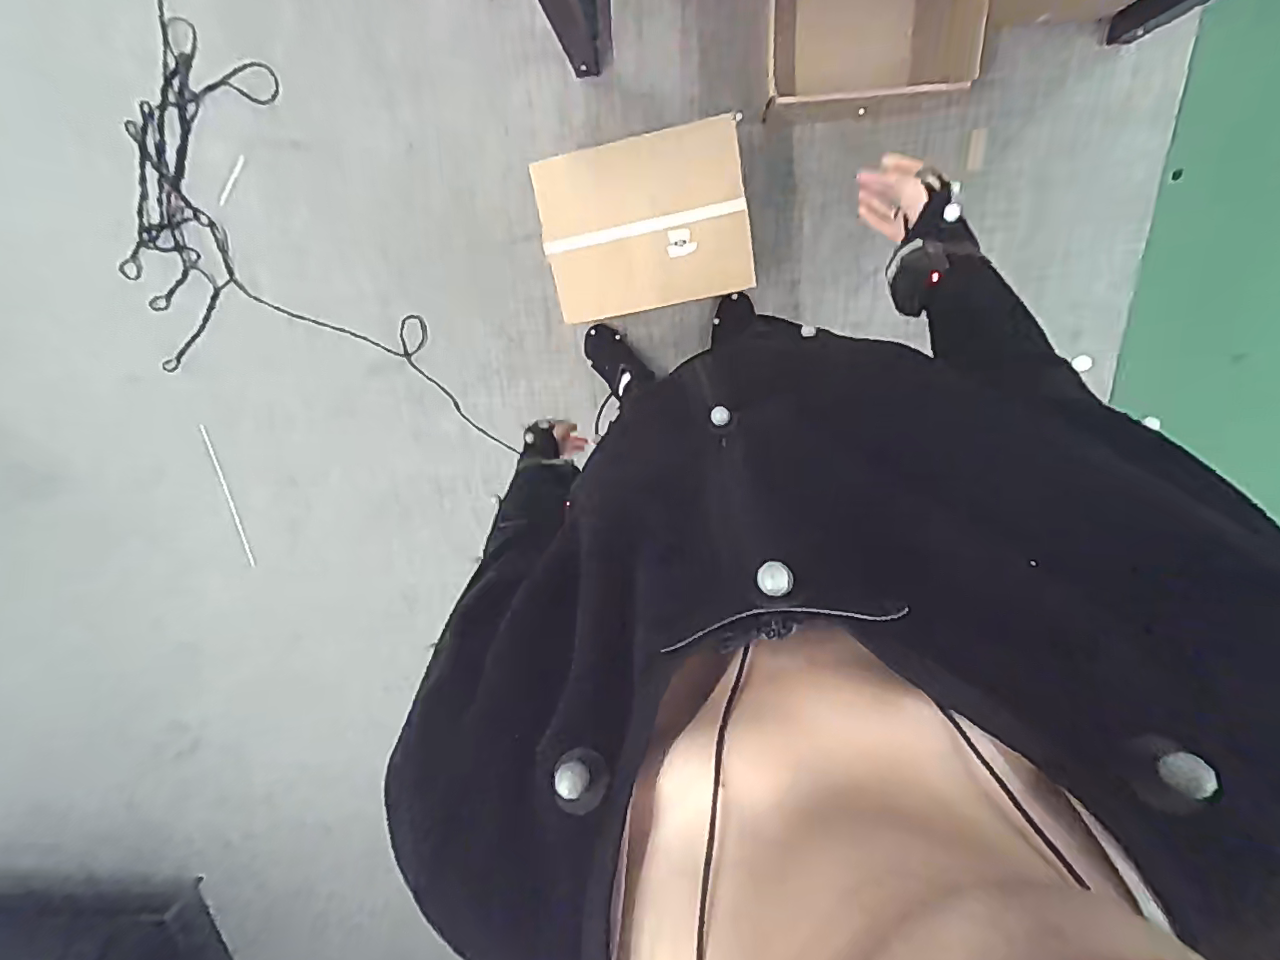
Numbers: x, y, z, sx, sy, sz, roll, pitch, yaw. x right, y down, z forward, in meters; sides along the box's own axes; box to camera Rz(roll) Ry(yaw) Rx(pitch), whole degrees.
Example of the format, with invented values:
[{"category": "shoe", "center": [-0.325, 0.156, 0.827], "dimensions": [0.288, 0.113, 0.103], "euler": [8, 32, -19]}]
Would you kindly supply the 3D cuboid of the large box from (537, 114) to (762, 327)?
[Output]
[{"category": "large box", "center": [0.033, -0.540, 1.197], "dimensions": [0.408, 0.320, 0.320], "euler": [-9, 108, 7]}]
